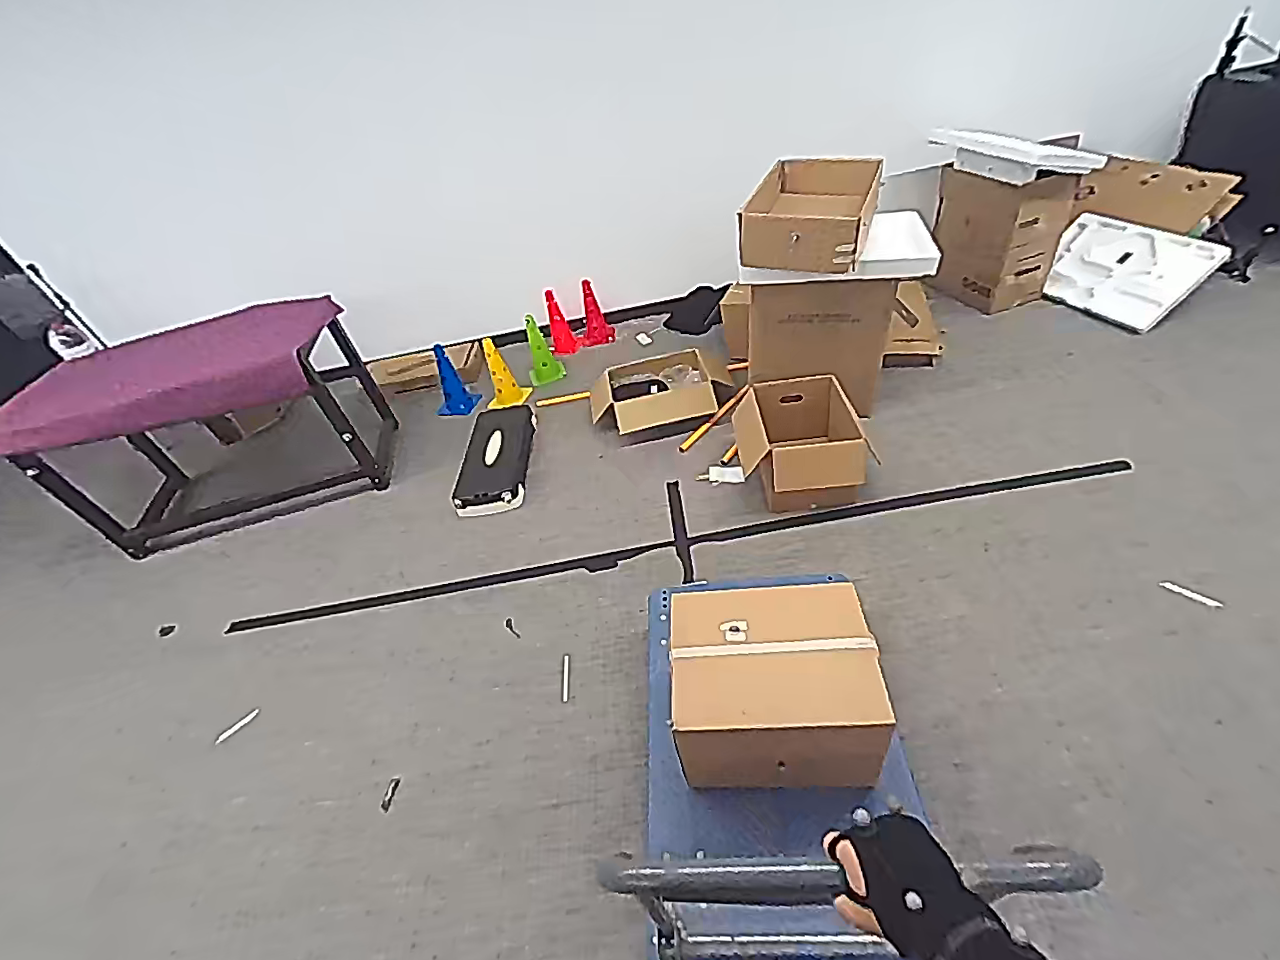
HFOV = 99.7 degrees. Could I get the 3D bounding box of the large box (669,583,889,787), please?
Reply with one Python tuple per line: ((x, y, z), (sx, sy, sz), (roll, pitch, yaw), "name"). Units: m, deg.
((0.289, 0.465, 1.214), (0.408, 0.320, 0.320), (-7, 41, 8), "large box")
